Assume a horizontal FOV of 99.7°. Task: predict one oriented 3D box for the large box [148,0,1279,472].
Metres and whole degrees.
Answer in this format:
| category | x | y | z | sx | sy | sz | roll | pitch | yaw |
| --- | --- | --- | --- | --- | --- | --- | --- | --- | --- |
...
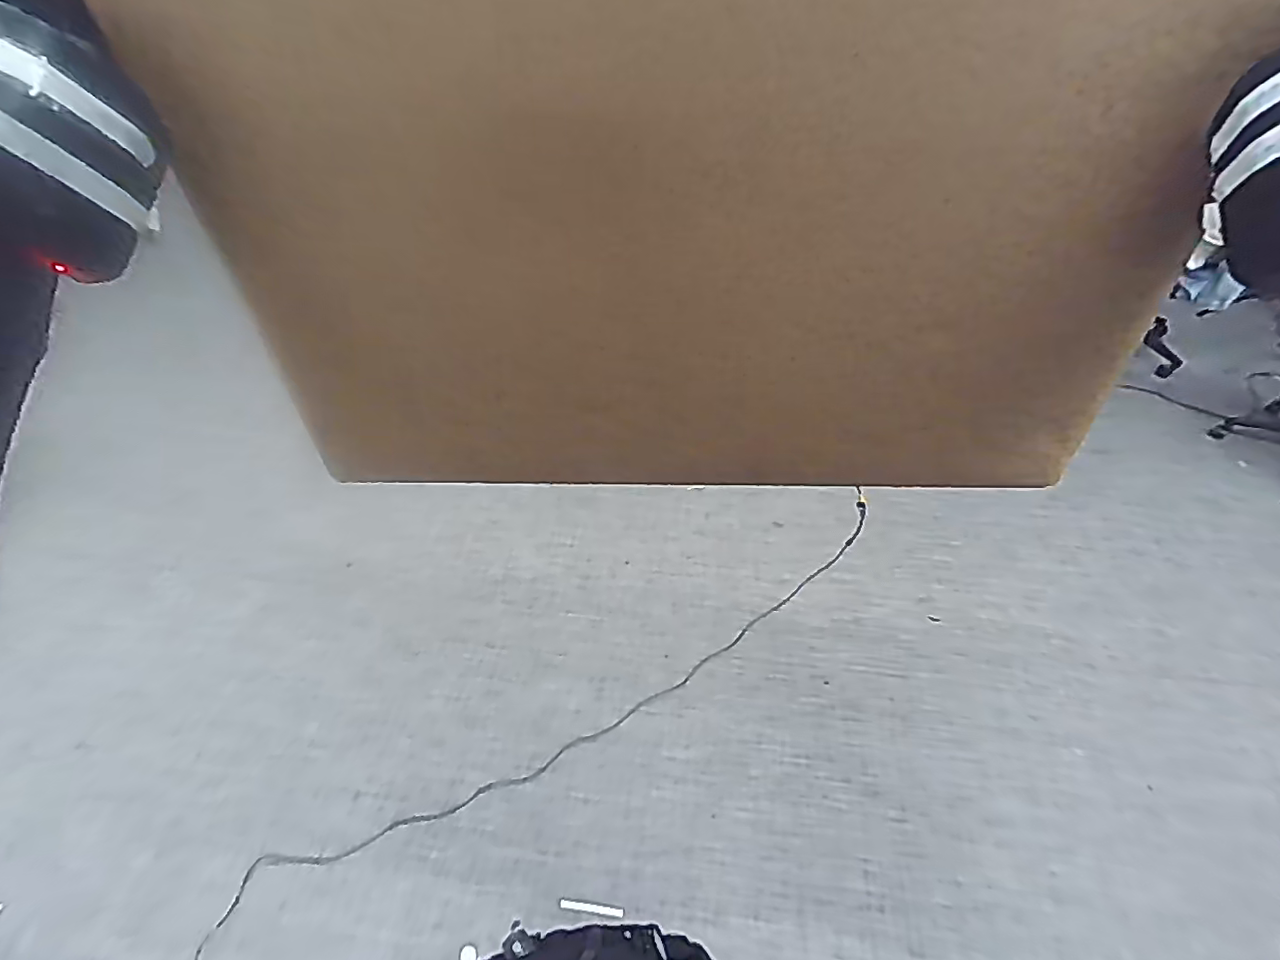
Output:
| category | x | y | z | sx | sy | sz | roll | pitch | yaw |
| --- | --- | --- | --- | --- | --- | --- | --- | --- | --- |
| large box | 0.027 | -0.213 | 0.335 | 0.408 | 0.320 | 0.320 | 1 | 39 | 3 |
